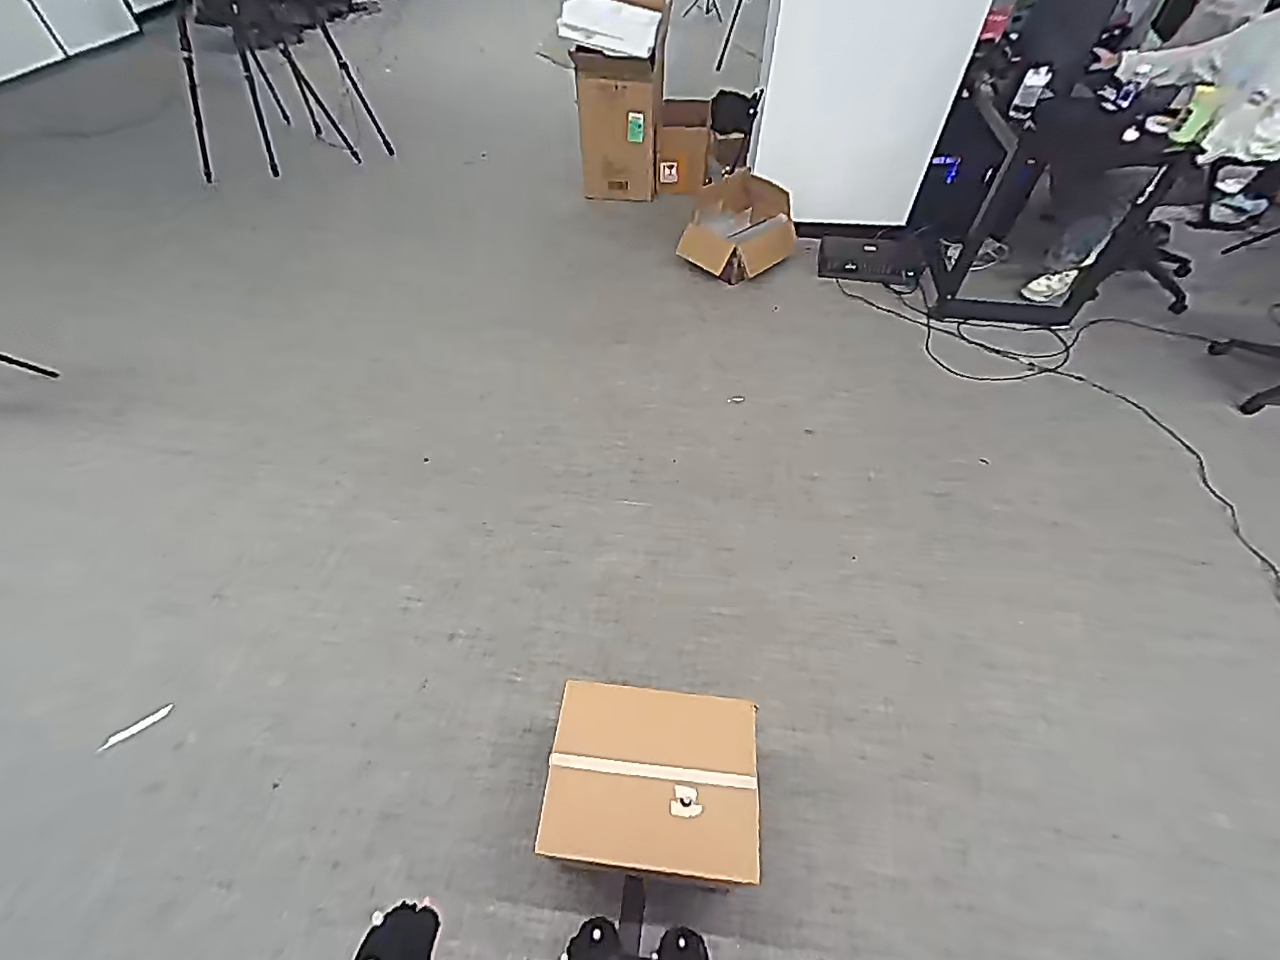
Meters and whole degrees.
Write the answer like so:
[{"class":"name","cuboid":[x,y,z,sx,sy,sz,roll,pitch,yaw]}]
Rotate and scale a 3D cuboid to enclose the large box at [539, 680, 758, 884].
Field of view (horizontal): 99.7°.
[{"class":"large box","cuboid":[0.023,0.656,1.170,0.408,0.320,0.320,6,52,3]}]
